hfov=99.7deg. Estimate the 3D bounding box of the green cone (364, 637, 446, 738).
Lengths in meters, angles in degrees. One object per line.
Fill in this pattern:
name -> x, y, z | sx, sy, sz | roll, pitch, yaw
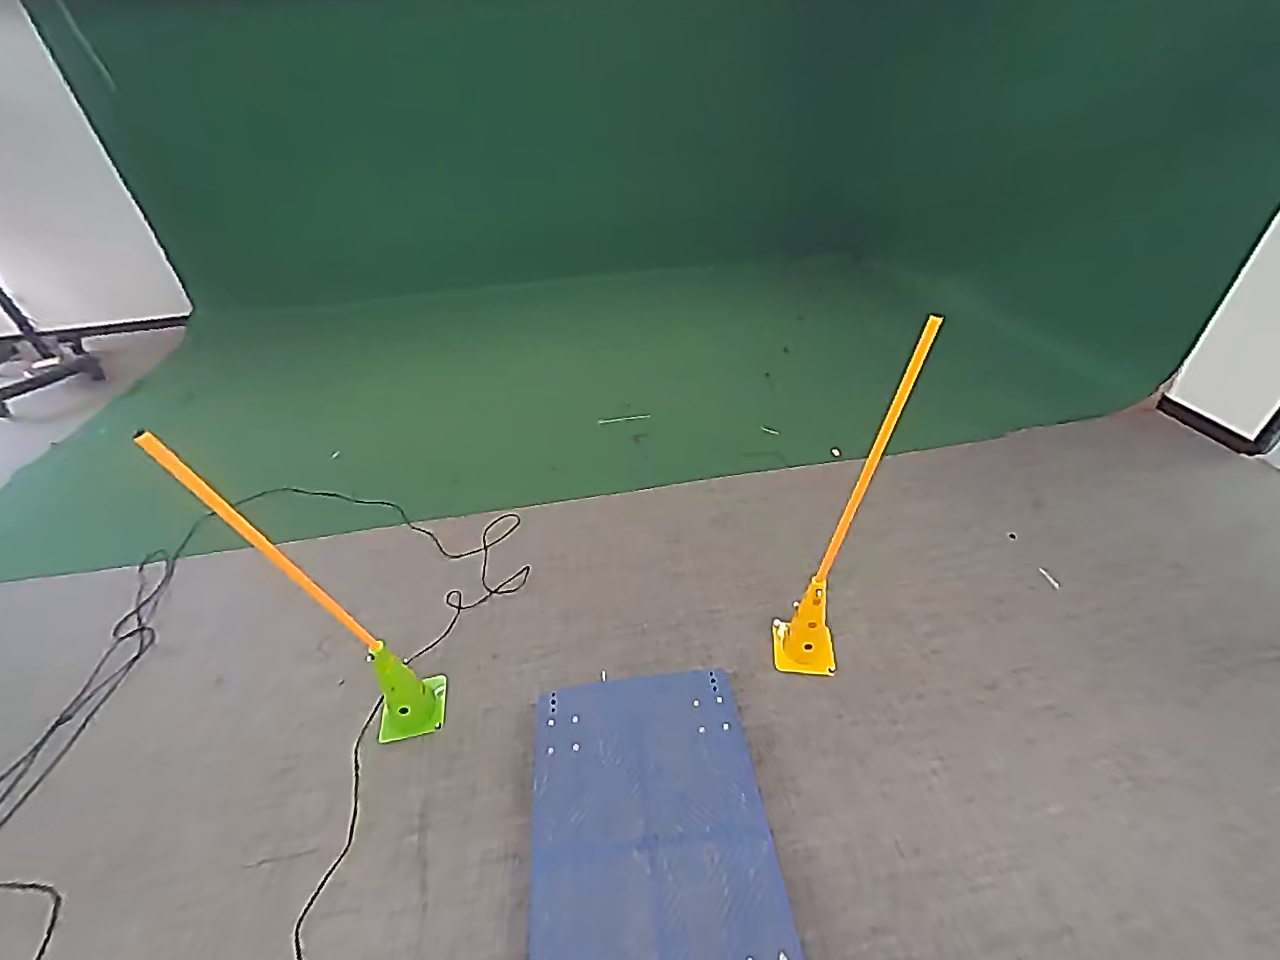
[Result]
green cone -> -0.763, 0.606, 1.685 | 0.202, 0.368, 0.200 | -12, 39, -7
